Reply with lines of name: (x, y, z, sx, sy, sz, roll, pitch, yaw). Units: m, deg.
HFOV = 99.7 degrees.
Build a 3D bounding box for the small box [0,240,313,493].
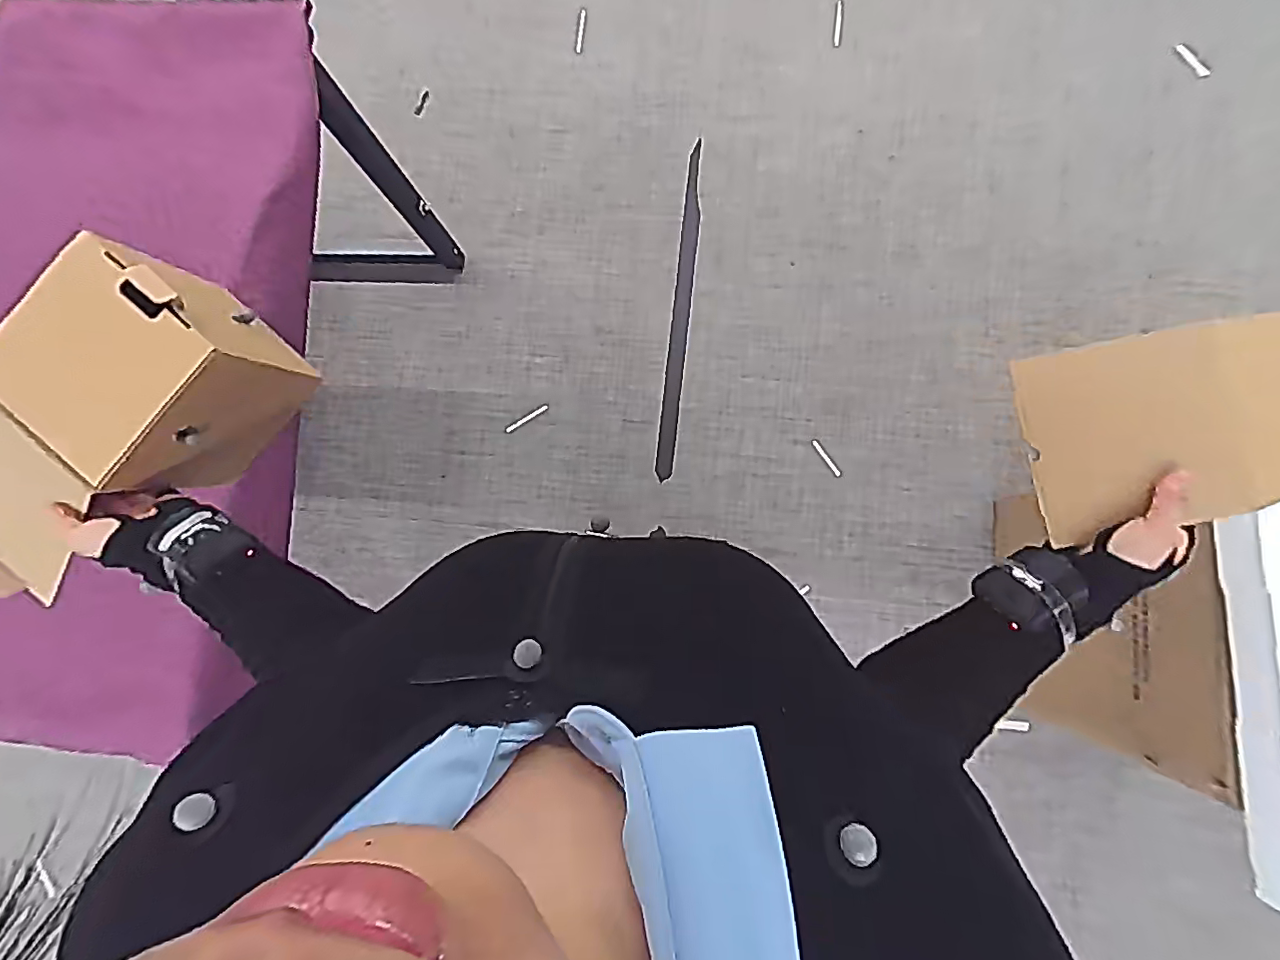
small box: (-0.502, -0.103, 0.574, 0.168, 0.176, 0.179, 41, 90, 0)
